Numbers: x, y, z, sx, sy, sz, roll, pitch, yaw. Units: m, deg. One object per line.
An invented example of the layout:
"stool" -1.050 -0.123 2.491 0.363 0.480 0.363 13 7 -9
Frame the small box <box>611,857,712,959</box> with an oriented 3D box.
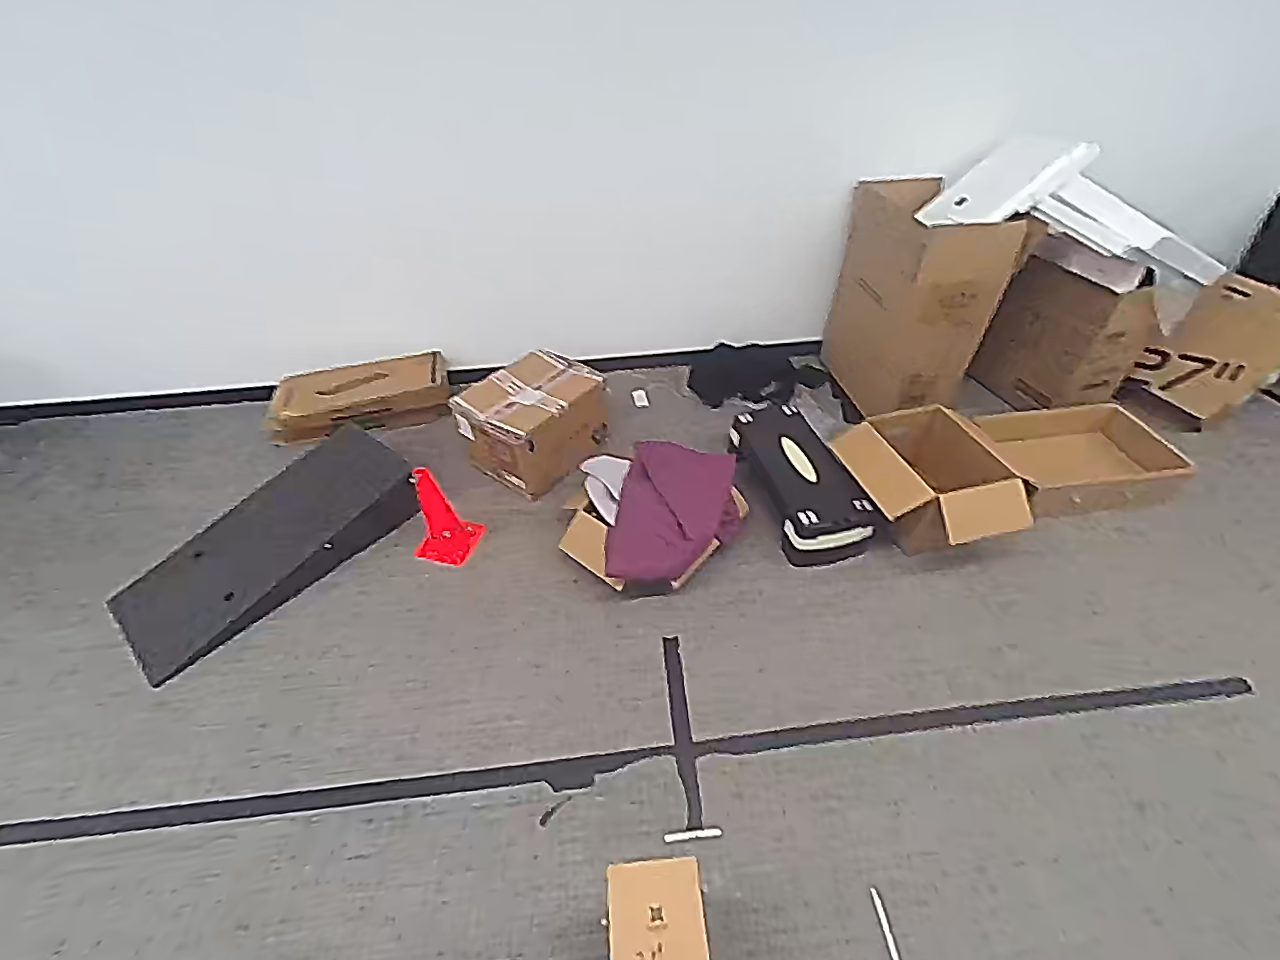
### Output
"small box" 0.035 0.813 0.977 0.168 0.176 0.179 -5 44 -2
